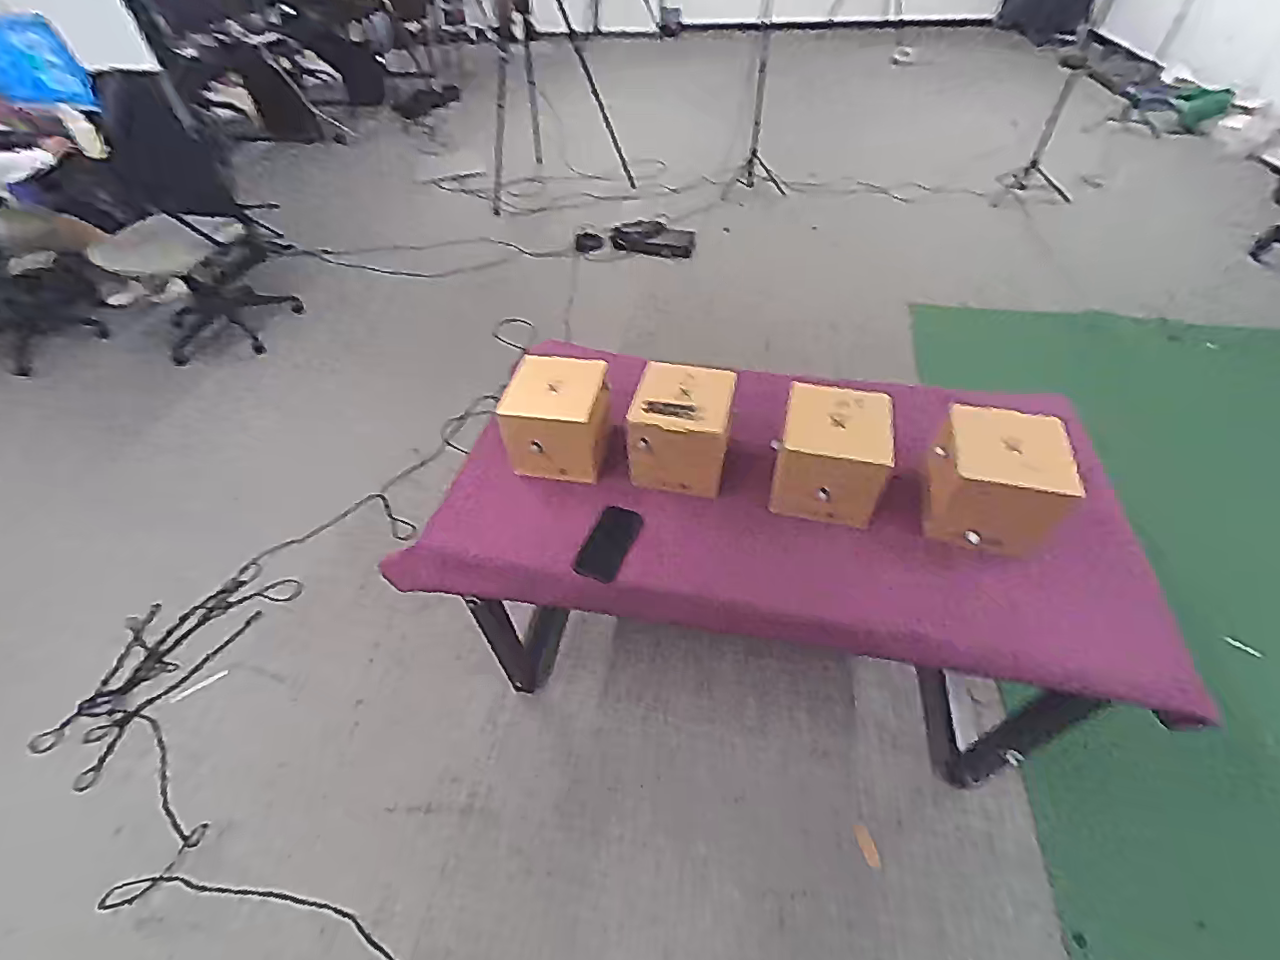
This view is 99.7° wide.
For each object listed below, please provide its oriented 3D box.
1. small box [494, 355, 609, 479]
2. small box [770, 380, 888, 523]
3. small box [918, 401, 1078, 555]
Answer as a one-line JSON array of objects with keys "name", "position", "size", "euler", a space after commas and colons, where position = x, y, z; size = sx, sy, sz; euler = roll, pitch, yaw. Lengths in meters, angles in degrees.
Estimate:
[{"name": "small box", "position": [-0.159, -0.120, 1.045], "size": [0.168, 0.176, 0.179], "euler": [5, 48, 8]}, {"name": "small box", "position": [0.329, -0.048, 0.957], "size": [0.168, 0.176, 0.179], "euler": [11, 49, 11]}, {"name": "small box", "position": [0.581, -0.004, 0.906], "size": [0.168, 0.176, 0.179], "euler": [11, 50, 14]}]
